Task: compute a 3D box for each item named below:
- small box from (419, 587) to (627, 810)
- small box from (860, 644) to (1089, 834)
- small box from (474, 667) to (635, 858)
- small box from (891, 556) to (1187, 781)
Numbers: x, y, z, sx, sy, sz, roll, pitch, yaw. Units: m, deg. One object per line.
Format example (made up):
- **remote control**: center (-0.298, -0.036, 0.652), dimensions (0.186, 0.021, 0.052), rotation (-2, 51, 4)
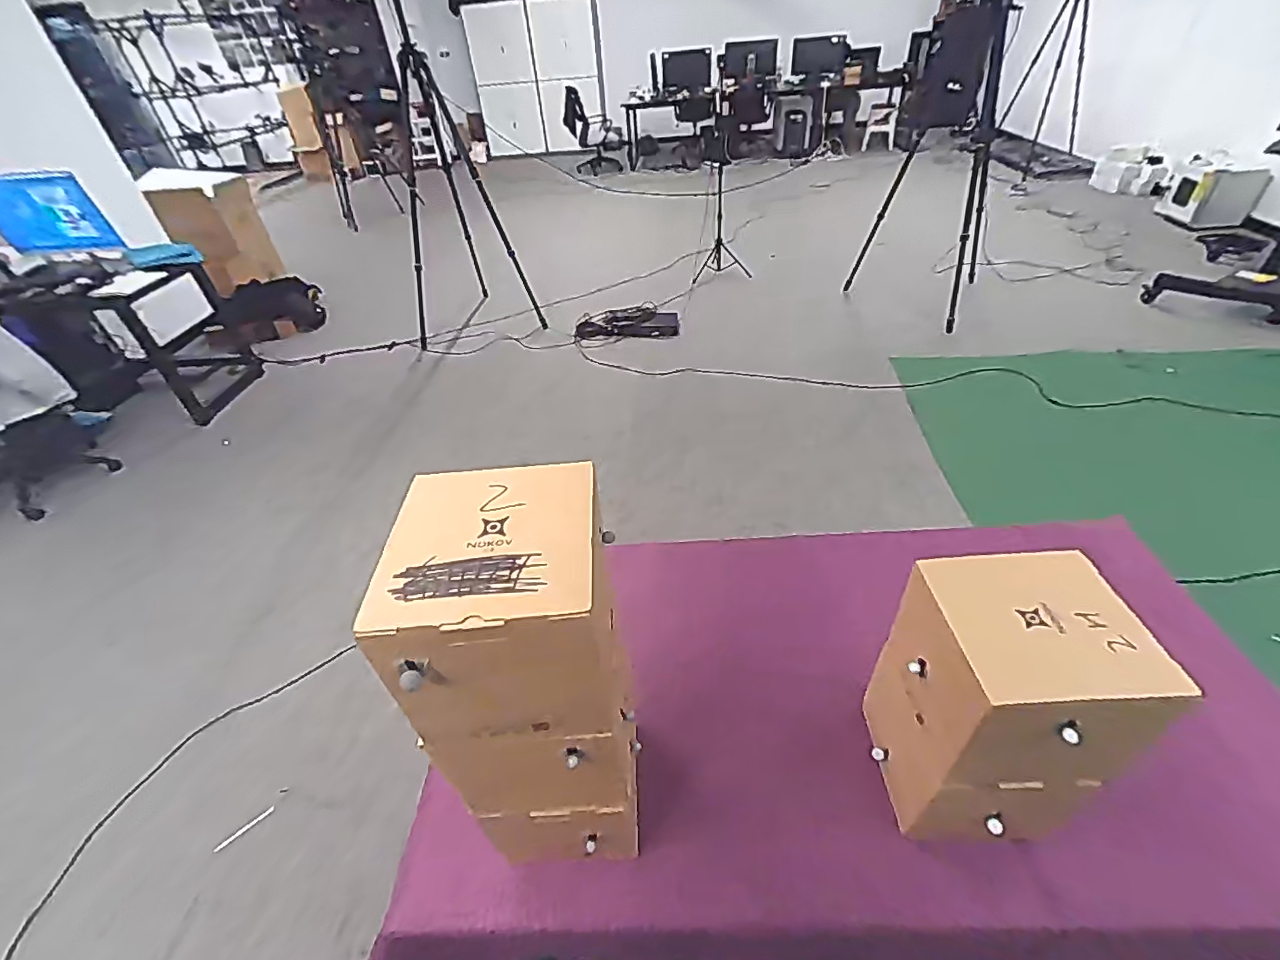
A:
- **small box**: center (-0.109, 0.238, 0.588), dimensions (0.179, 0.176, 0.168), rotation (-4, 40, -1)
- **small box**: center (0.395, 0.326, 0.680), dimensions (0.168, 0.176, 0.179), rotation (-2, 41, 3)
- **small box**: center (-0.094, 0.362, 0.691), dimensions (0.168, 0.176, 0.179), rotation (-3, 40, 1)
- **small box**: center (0.385, 0.201, 0.572), dimensions (0.179, 0.176, 0.168), rotation (-3, 40, 3)
